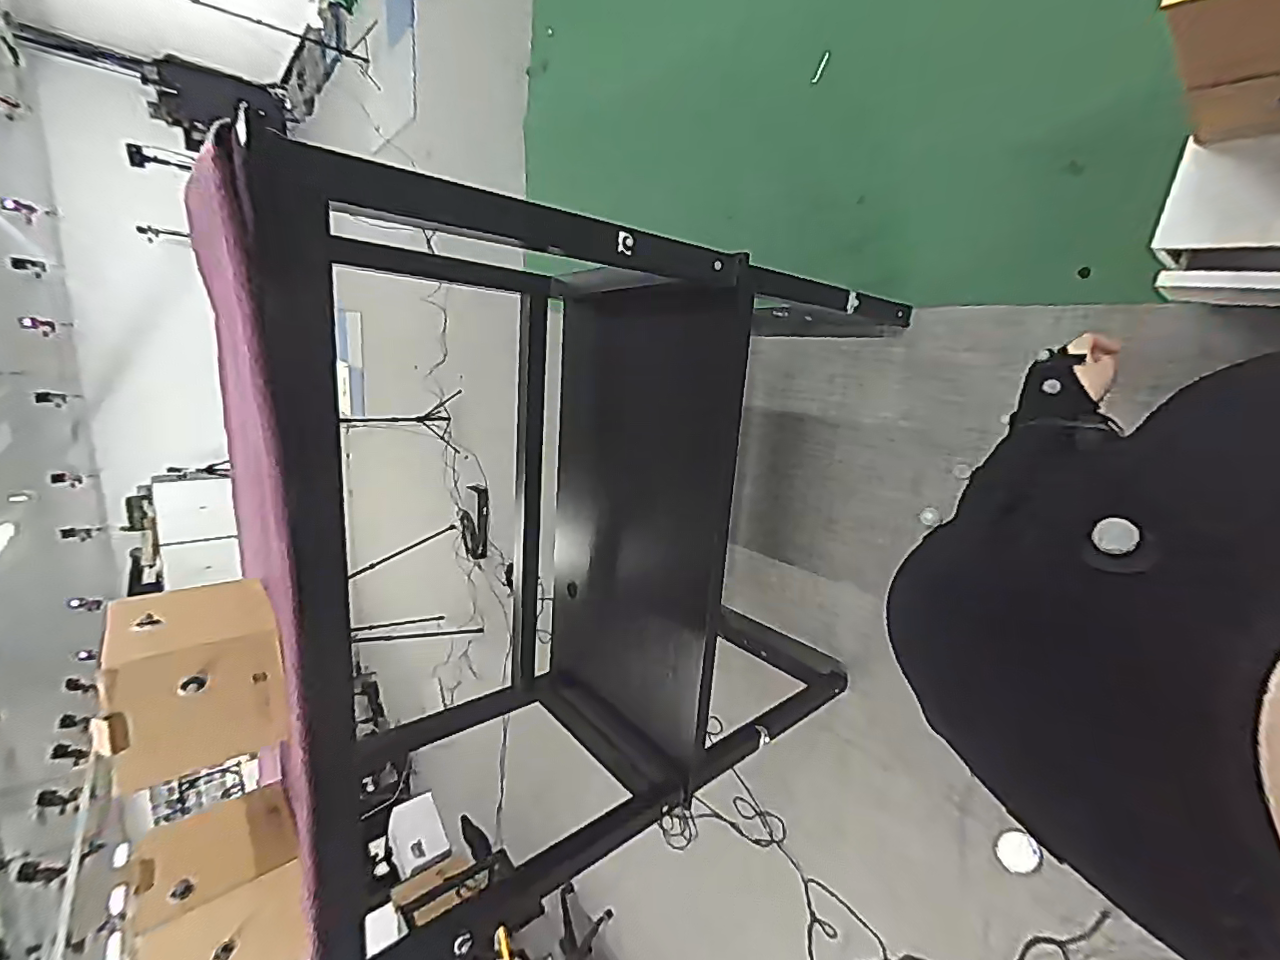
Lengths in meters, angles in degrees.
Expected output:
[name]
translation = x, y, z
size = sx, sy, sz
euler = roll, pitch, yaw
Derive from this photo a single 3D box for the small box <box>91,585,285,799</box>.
[small box]
translation = -0.562, 0.249, 0.689
size = 0.179, 0.176, 0.168
euler = 20, 109, 47
